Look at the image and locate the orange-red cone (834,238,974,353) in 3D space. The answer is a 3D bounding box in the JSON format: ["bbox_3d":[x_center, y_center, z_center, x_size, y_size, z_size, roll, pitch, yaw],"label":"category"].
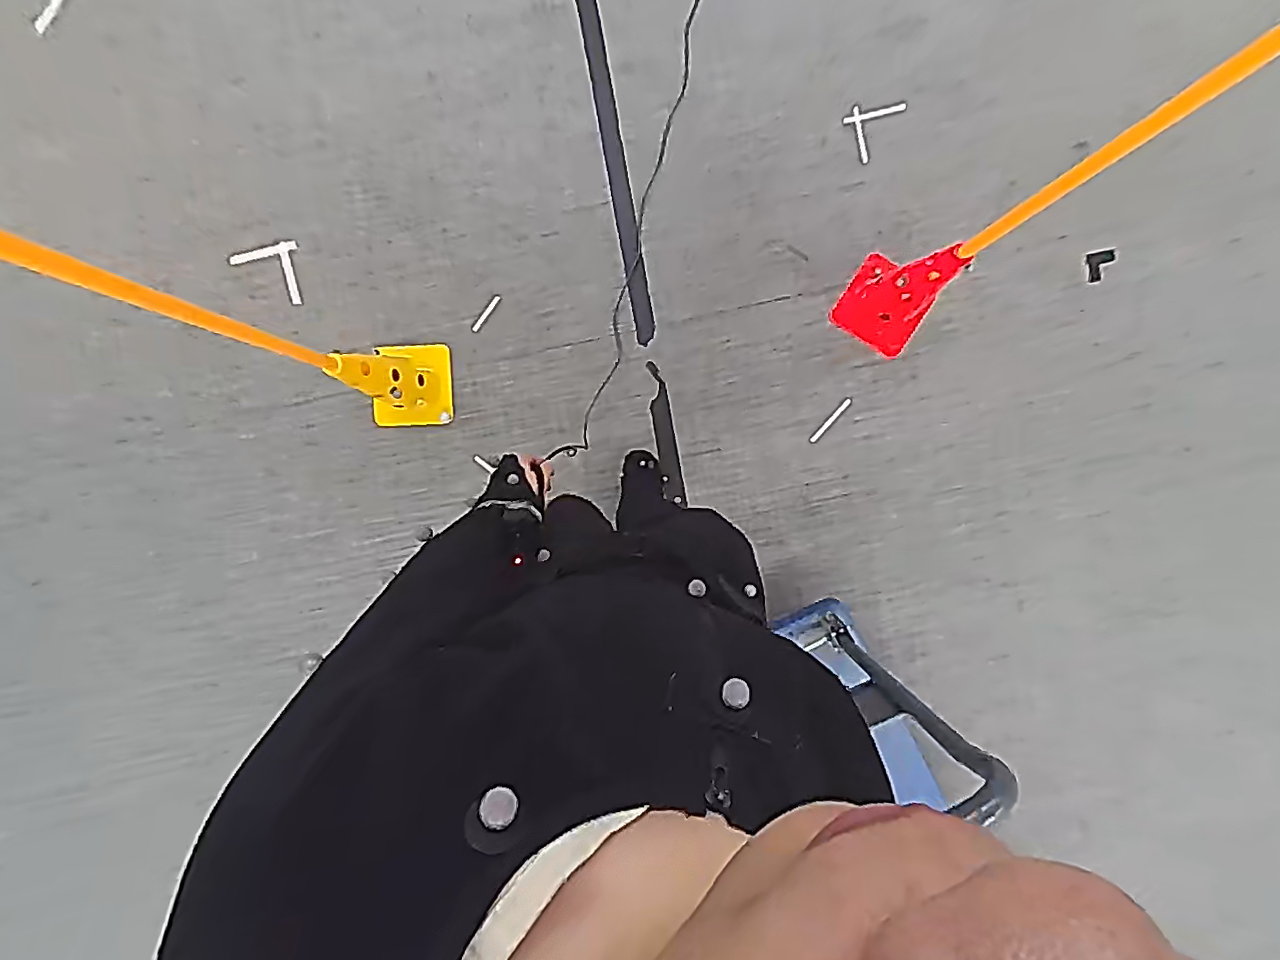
[{"bbox_3d":[0.595,-0.426,1.153,0.198,0.360,0.199,34,94,0],"label":"orange-red cone"}]
